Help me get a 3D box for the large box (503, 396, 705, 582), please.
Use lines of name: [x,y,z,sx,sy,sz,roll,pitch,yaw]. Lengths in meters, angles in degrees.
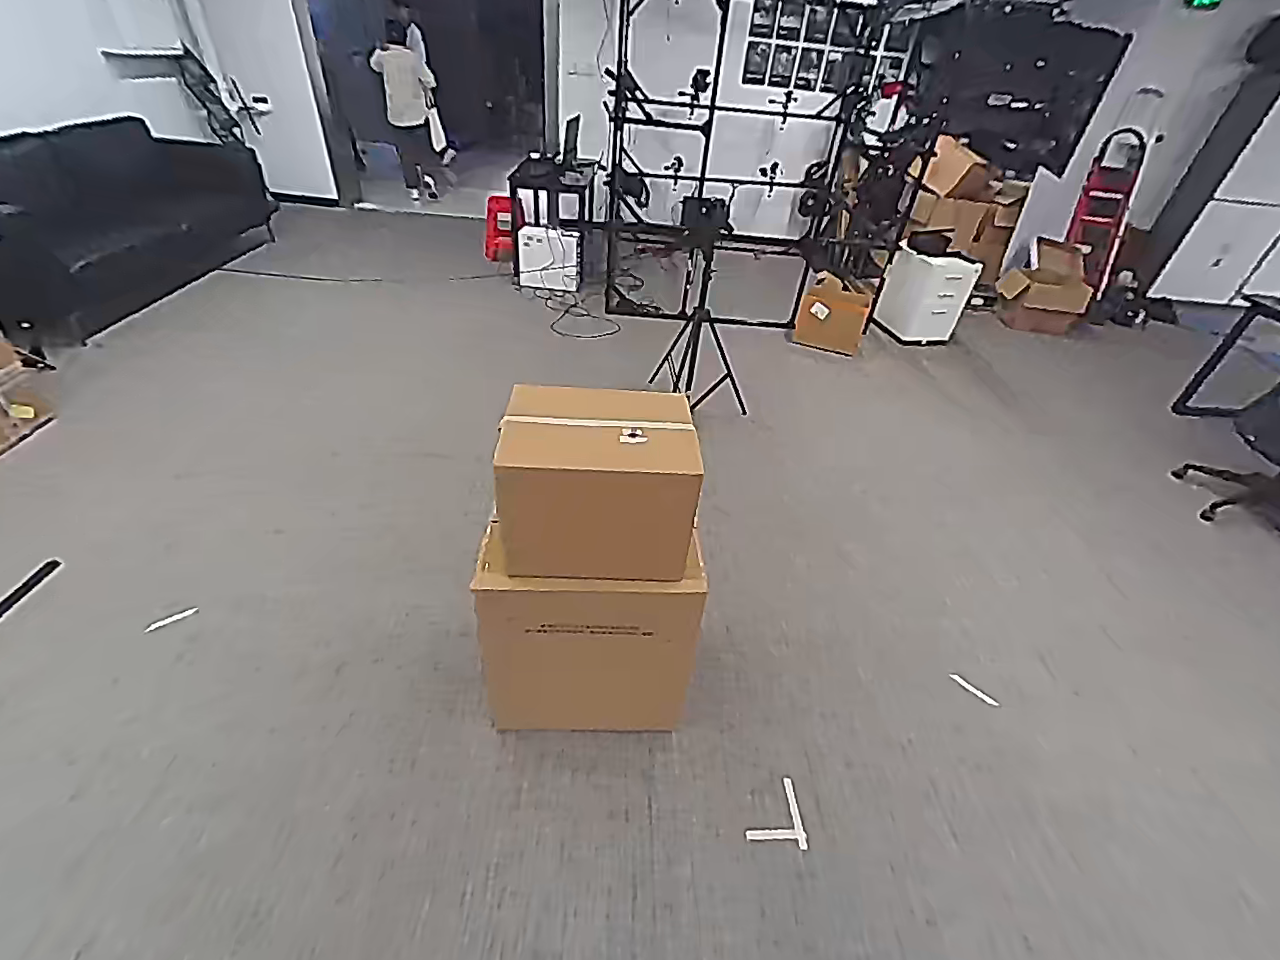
large box: [-0.092,0.021,1.252,0.408,0.320,0.320,3,38,-6]
